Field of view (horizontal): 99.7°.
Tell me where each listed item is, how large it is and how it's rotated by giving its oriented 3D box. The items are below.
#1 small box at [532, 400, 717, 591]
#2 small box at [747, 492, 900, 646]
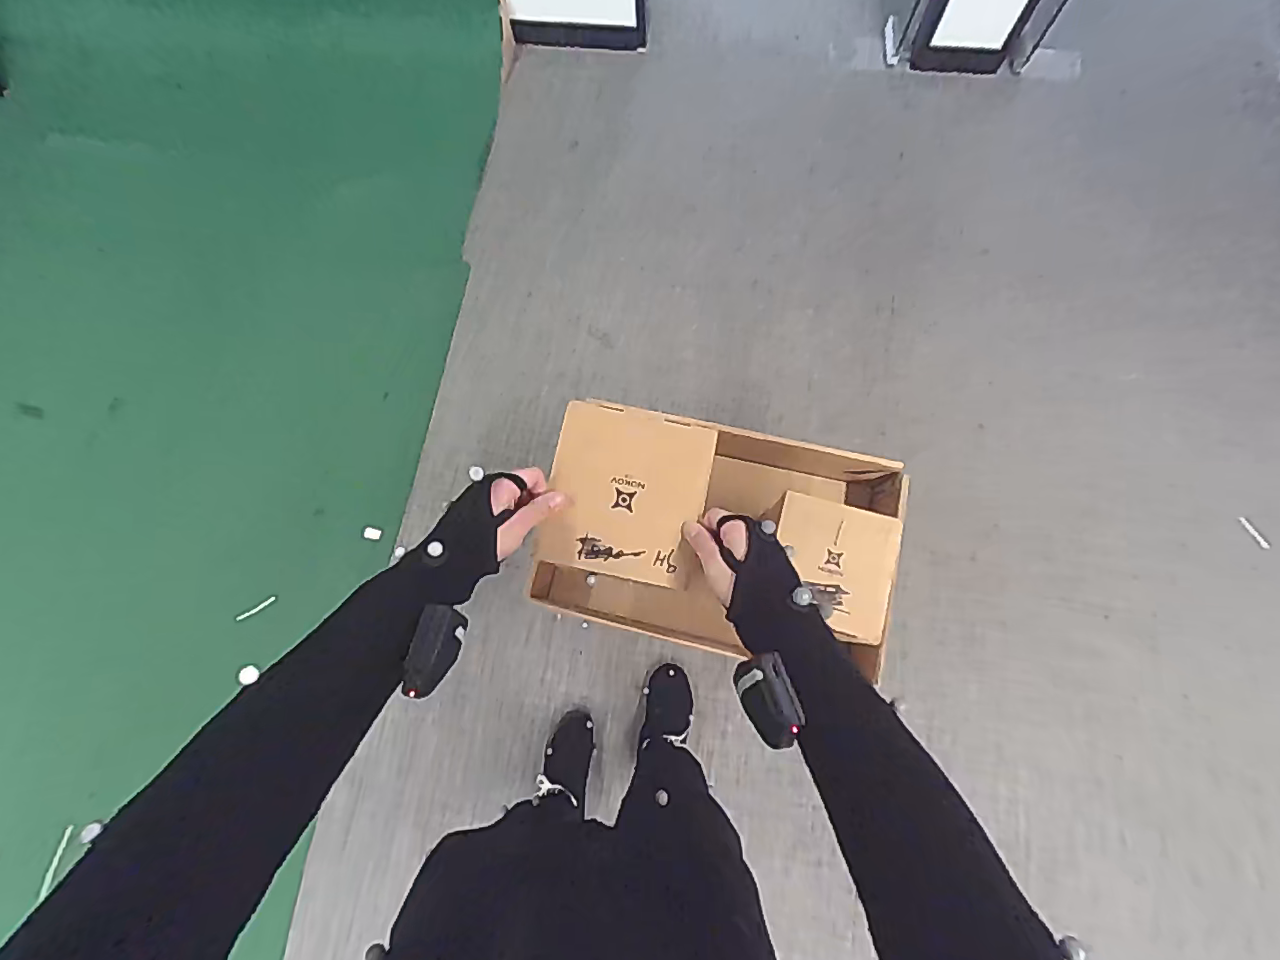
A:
[{"bbox_3d":[-0.017,0.029,0.645,0.168,0.176,0.179,12,78,1],"label":"small box"},{"bbox_3d":[0.264,0.138,0.817,0.168,0.176,0.179,15,76,8],"label":"small box"}]
